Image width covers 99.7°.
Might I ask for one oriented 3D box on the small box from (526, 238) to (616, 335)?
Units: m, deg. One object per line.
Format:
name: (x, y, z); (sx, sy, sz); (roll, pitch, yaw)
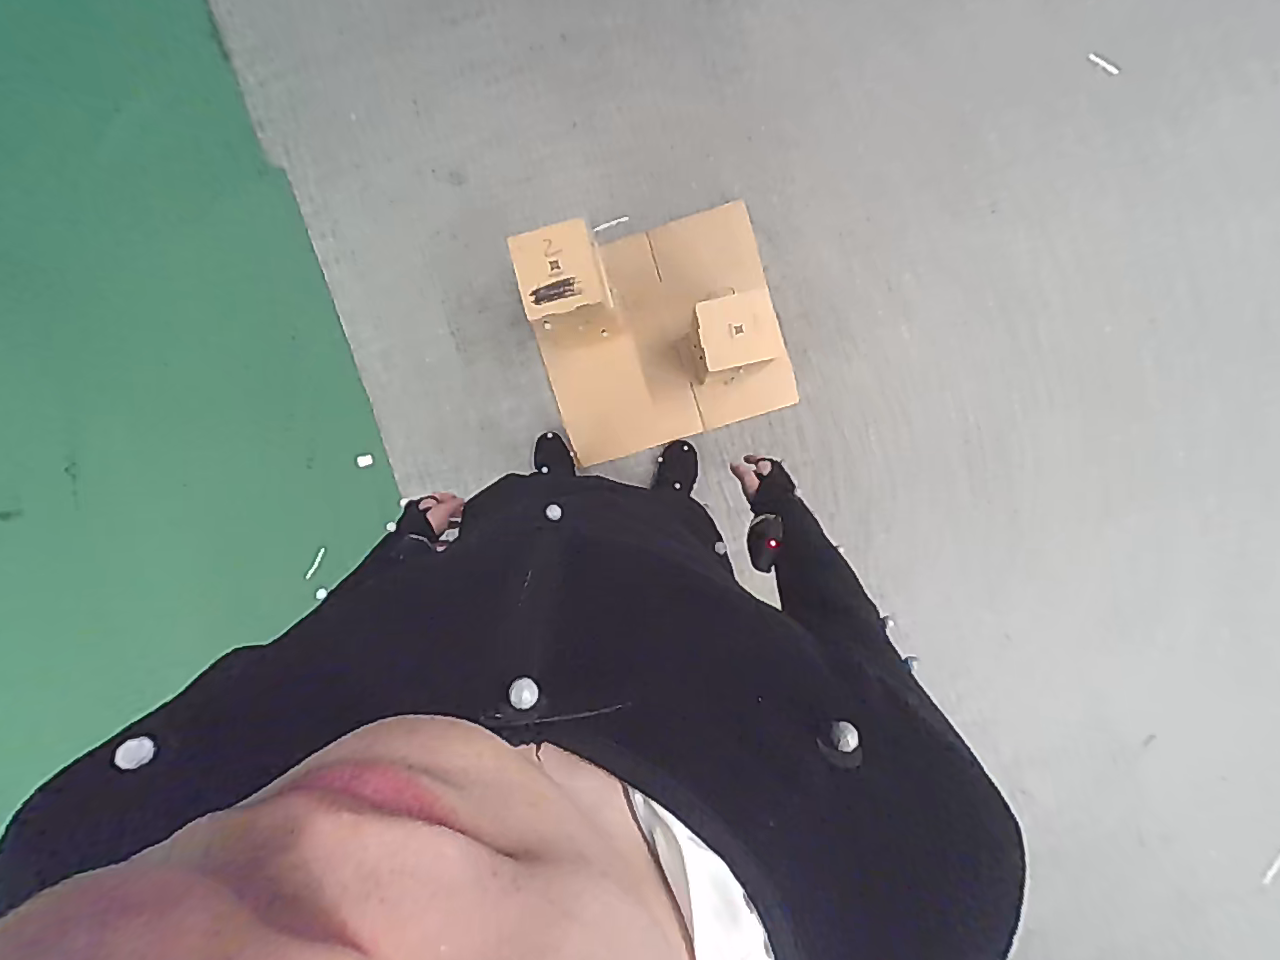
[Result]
small box: (-0.162, -0.473, 1.346); (0.179, 0.176, 0.168); (-15, 95, 4)

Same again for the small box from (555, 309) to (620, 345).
small box: (-0.159, -0.487, 1.507); (0.179, 0.176, 0.168); (-15, 94, 4)

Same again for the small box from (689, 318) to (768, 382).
small box: (0.240, -0.377, 1.500); (0.179, 0.176, 0.168); (-14, 94, 4)

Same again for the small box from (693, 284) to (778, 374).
small box: (0.229, -0.364, 1.337); (0.179, 0.176, 0.168); (-11, 95, 4)
